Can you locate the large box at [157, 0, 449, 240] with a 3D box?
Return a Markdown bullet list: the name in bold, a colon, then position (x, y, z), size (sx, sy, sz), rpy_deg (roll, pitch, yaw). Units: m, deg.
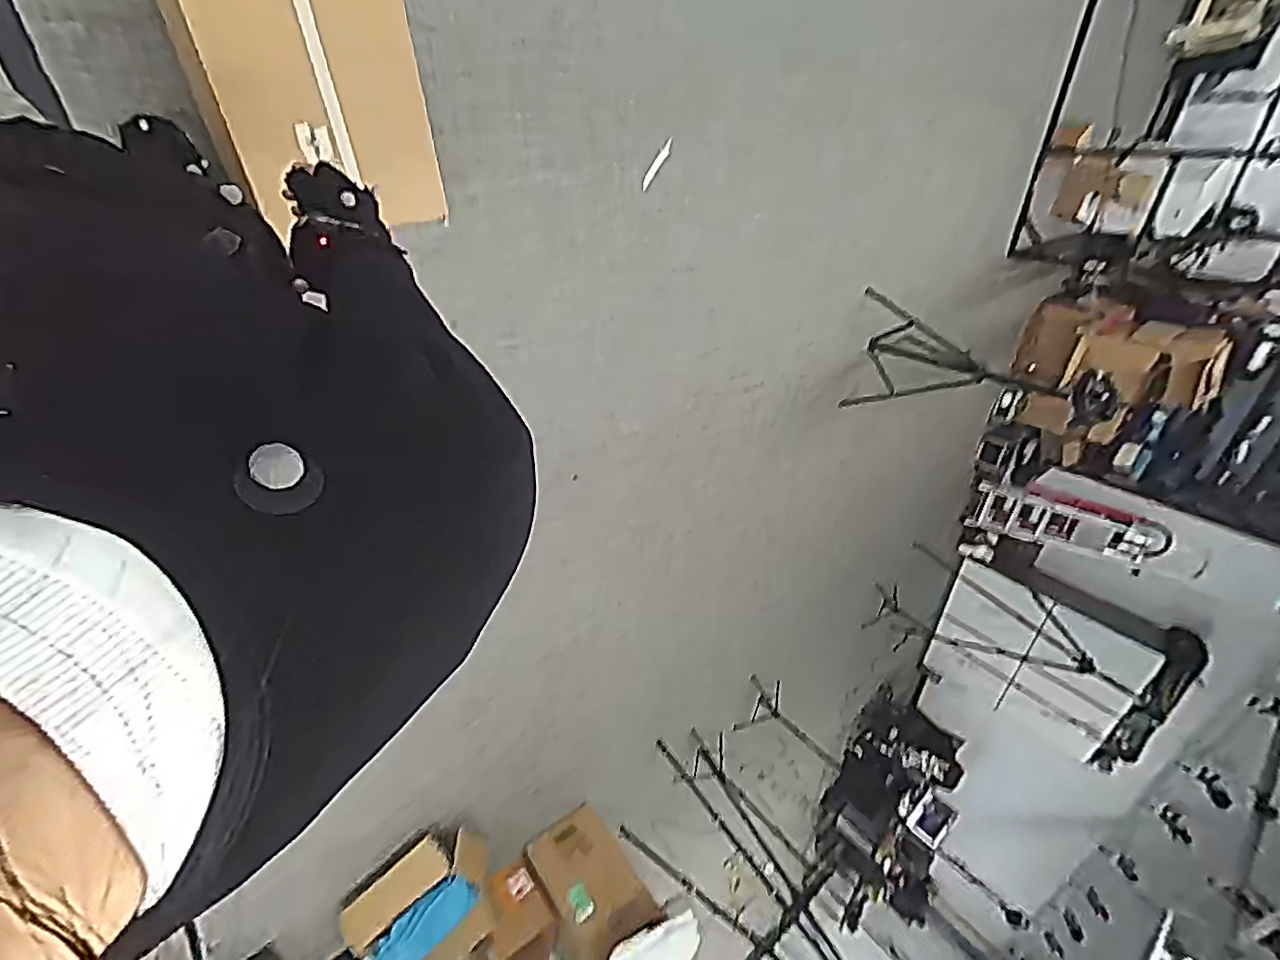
- **large box**: position (-0.595, -0.689, 0.970), size (0.320, 0.320, 0.408), rpy_deg (-25, 131, -29)
